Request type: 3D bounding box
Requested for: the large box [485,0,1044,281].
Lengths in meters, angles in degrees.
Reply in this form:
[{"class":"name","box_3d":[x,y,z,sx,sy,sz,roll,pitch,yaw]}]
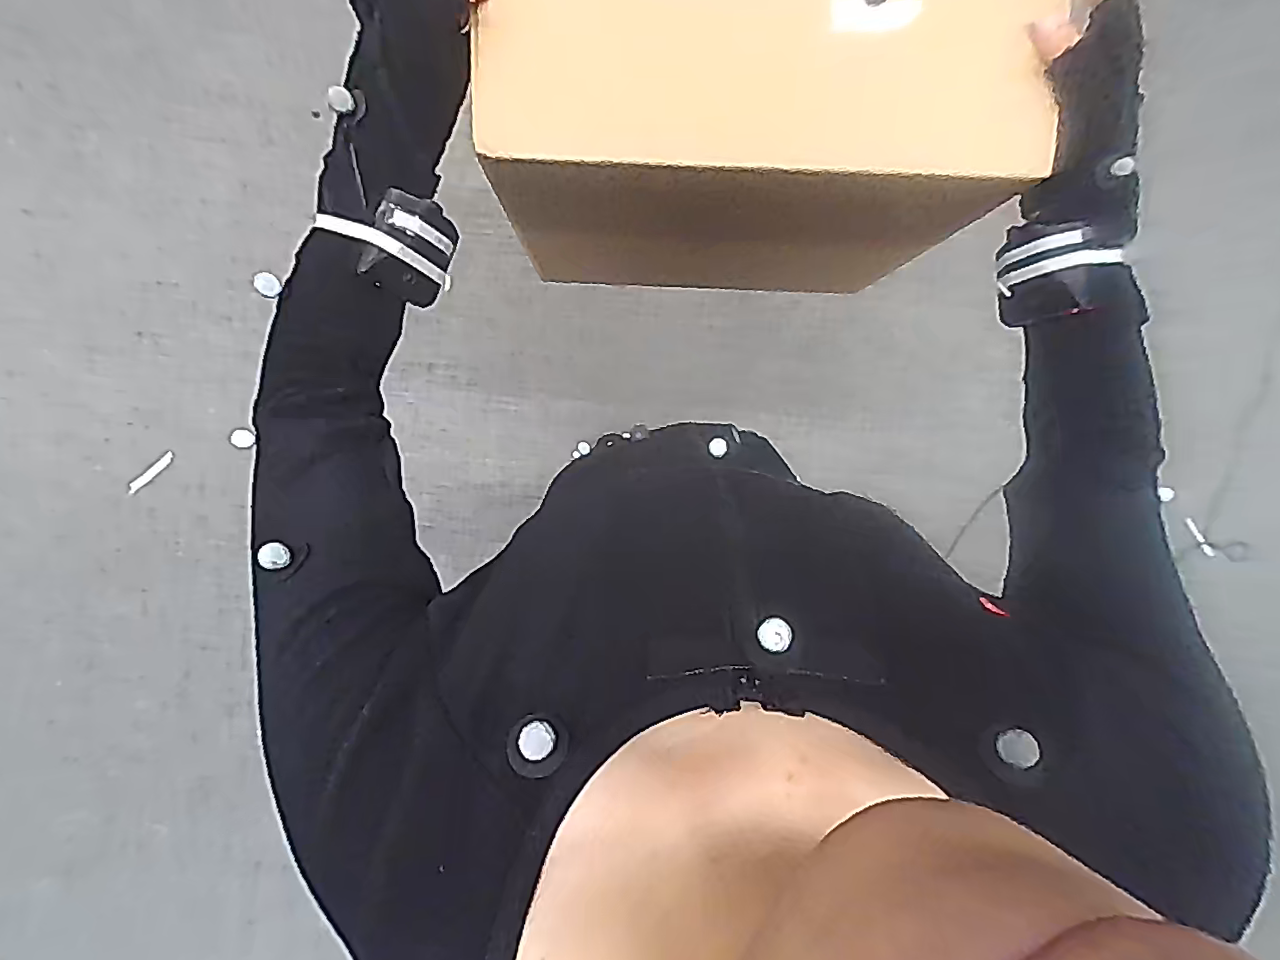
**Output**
[{"class":"large box","box_3d":[0.082,-0.393,0.523,0.408,0.320,0.320,1,95,-3]}]
